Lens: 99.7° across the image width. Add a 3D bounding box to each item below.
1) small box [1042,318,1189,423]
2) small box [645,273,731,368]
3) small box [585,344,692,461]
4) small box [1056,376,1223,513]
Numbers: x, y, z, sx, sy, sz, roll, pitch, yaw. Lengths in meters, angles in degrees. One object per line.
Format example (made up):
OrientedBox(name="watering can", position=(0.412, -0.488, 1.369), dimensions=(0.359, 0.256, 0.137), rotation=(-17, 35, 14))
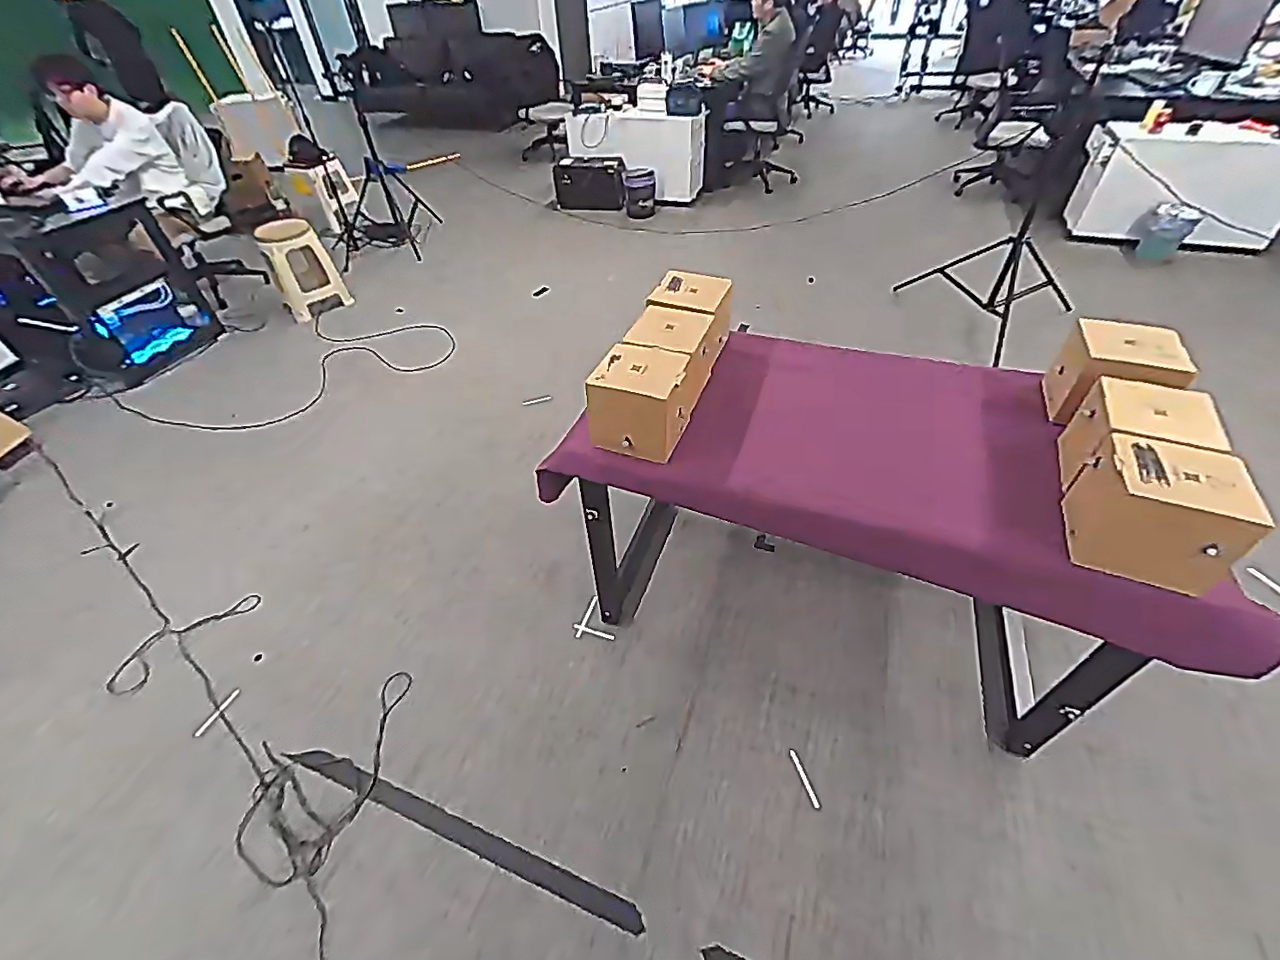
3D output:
OrientedBox(name="small box", position=(0.993, -0.220, 1.153), dimensions=(0.179, 0.176, 0.168), rotation=(15, 48, 16))
OrientedBox(name="small box", position=(0.124, -0.410, 1.397), dimensions=(0.179, 0.176, 0.168), rotation=(16, 50, 17))
OrientedBox(name="small box", position=(0.000, -0.163, 1.155), dimensions=(0.179, 0.176, 0.168), rotation=(15, 46, 16))
OrientedBox(name="small box", position=(0.914, -0.066, 1.011), dimensions=(0.168, 0.176, 0.179), rotation=(17, 47, 20))
